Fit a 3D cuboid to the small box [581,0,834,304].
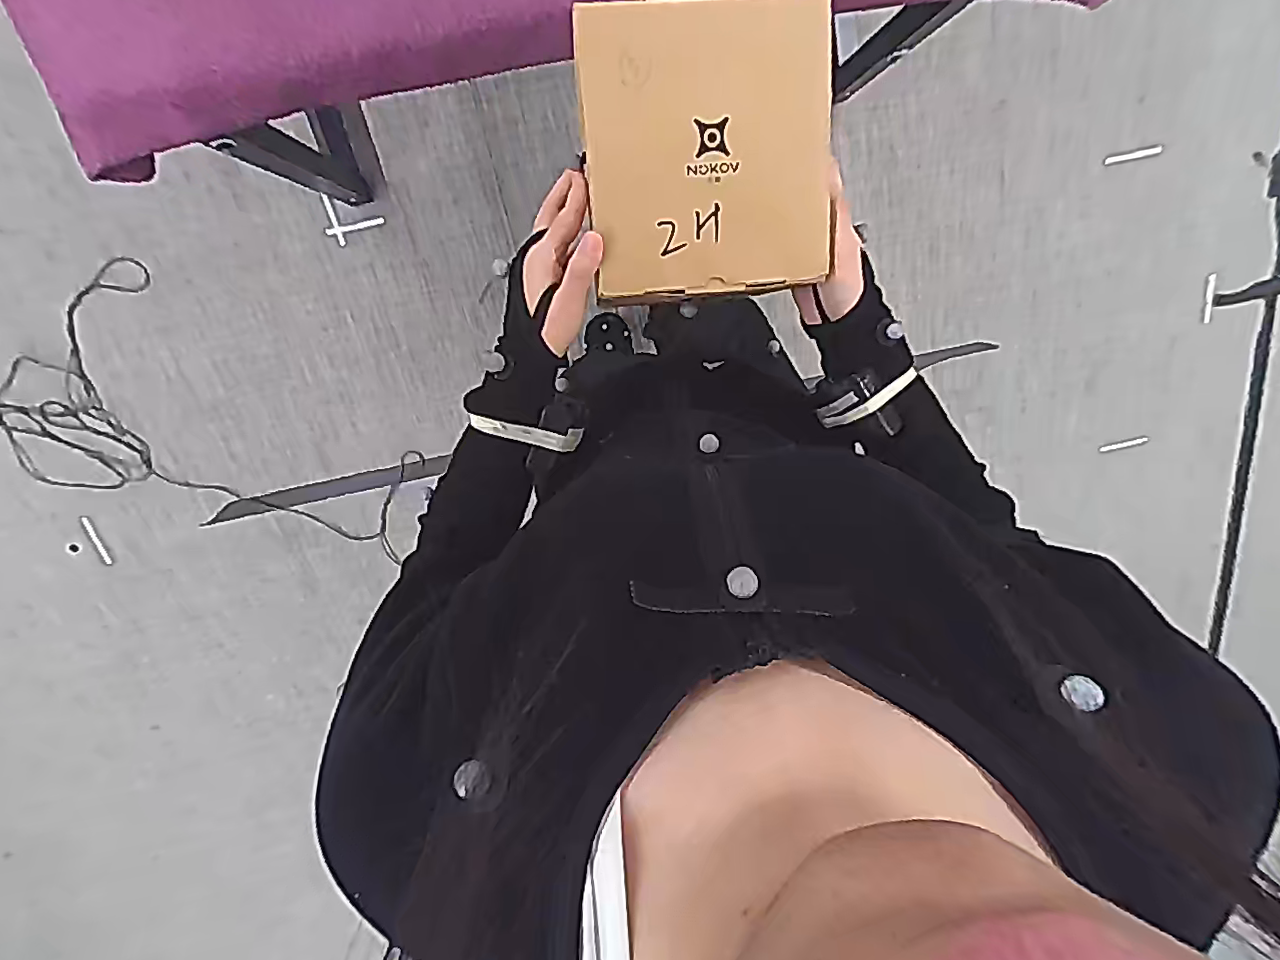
[{"bbox_3d":[0.041,-0.244,0.435,0.168,0.176,0.179,-5,105,-3],"label":"small box"}]
